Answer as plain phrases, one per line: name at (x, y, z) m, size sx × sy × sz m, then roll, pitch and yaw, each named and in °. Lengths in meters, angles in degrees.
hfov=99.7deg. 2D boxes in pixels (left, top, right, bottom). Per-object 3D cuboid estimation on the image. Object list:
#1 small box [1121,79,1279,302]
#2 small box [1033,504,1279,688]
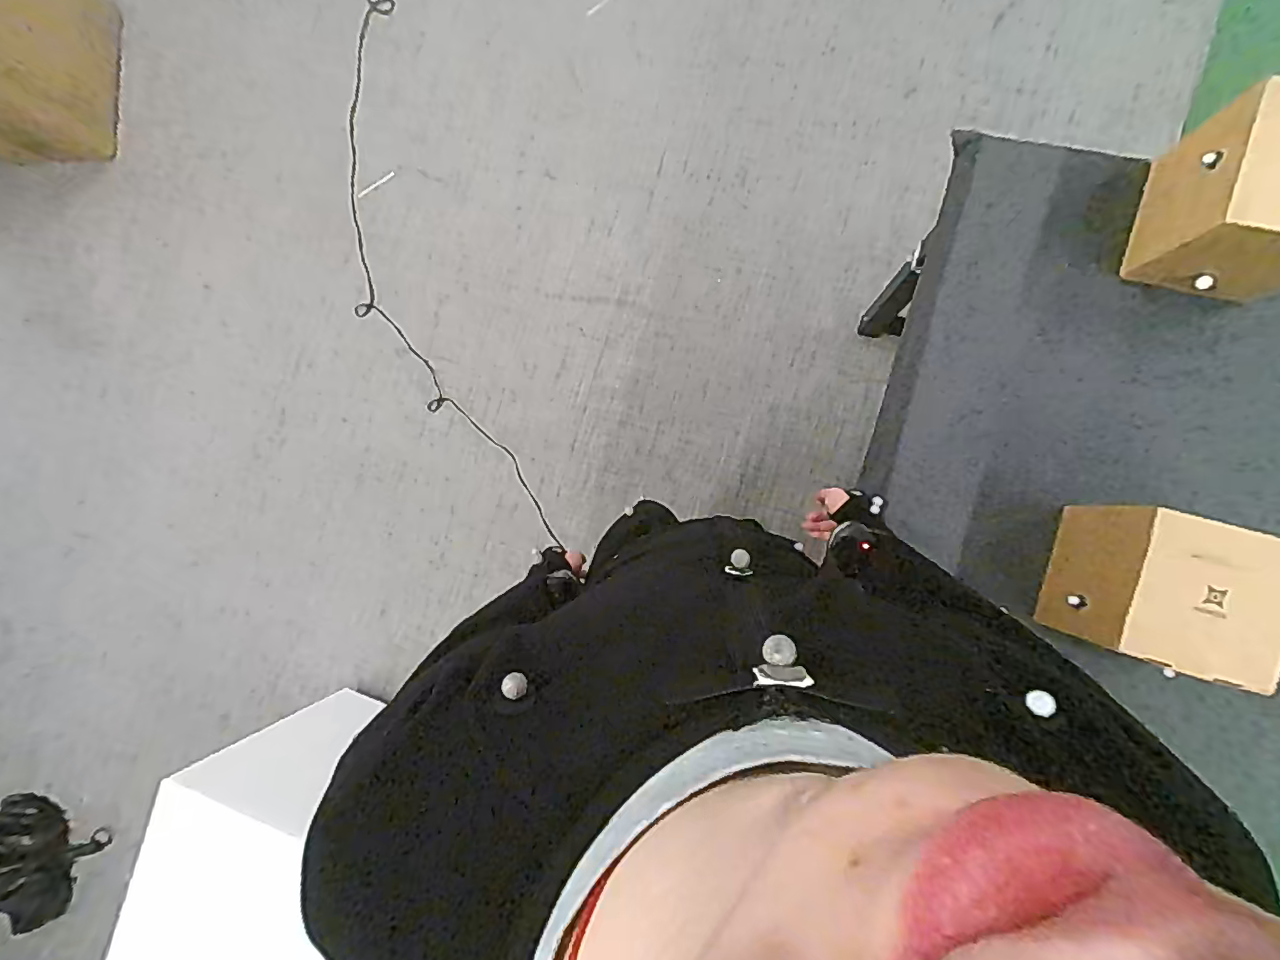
small box at (0.780, -0.355, 0.693) m, size 0.168 × 0.176 × 0.179 m, roll 16°, pitch 92°, yaw 7°
small box at (0.656, 0.135, 0.701) m, size 0.168 × 0.176 × 0.179 m, roll 15°, pitch 89°, yaw 5°
